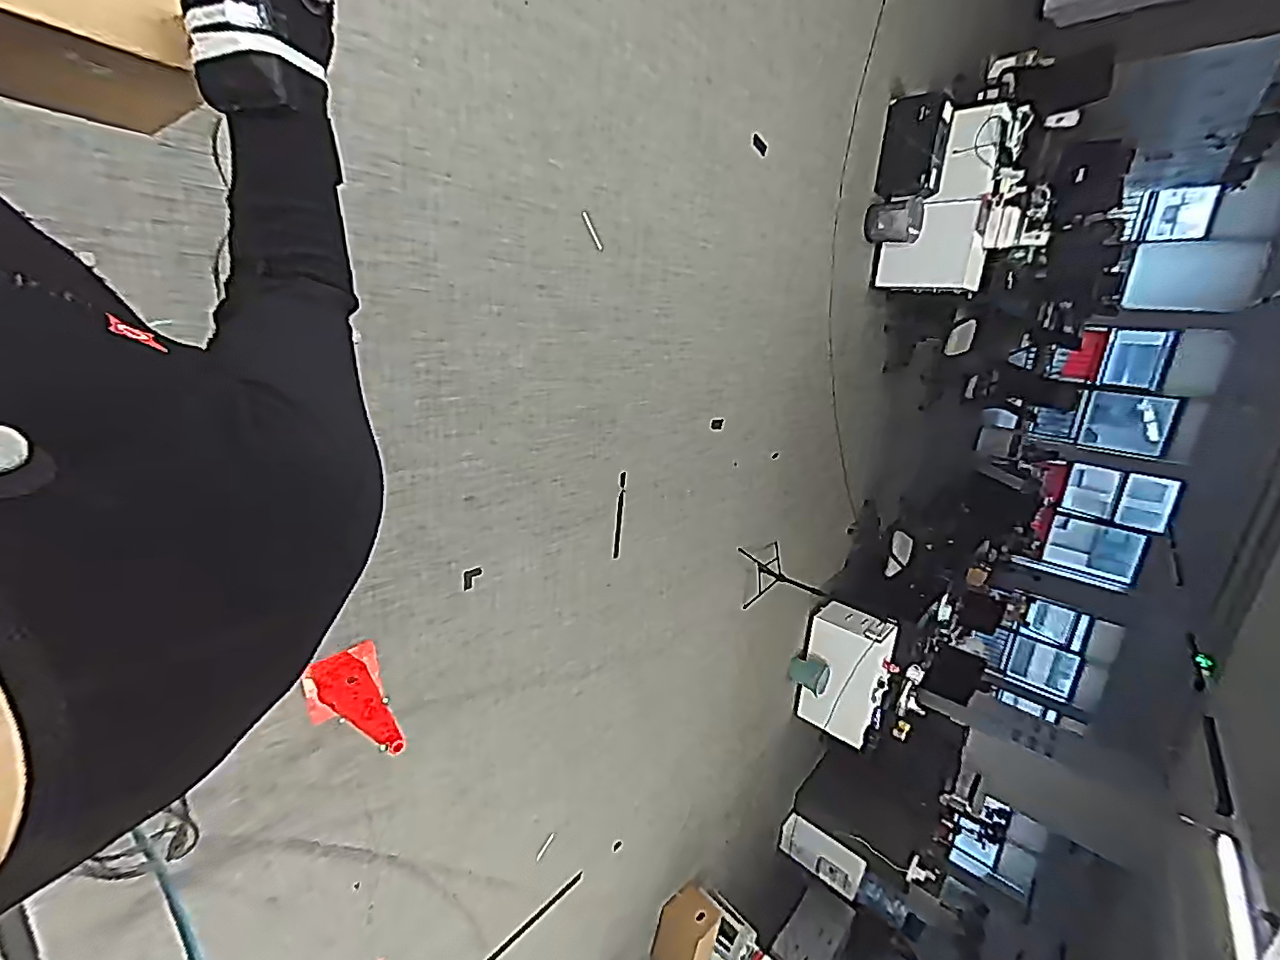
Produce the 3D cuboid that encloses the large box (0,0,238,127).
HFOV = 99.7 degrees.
[{"bbox_3d":[-0.515,-0.445,0.290,0.408,0.320,0.320,-12,115,-49],"label":"large box"}]

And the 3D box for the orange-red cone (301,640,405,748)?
[{"bbox_3d":[-0.751,0.626,1.483,0.198,0.360,0.199,-18,116,-47],"label":"orange-red cone"}]
